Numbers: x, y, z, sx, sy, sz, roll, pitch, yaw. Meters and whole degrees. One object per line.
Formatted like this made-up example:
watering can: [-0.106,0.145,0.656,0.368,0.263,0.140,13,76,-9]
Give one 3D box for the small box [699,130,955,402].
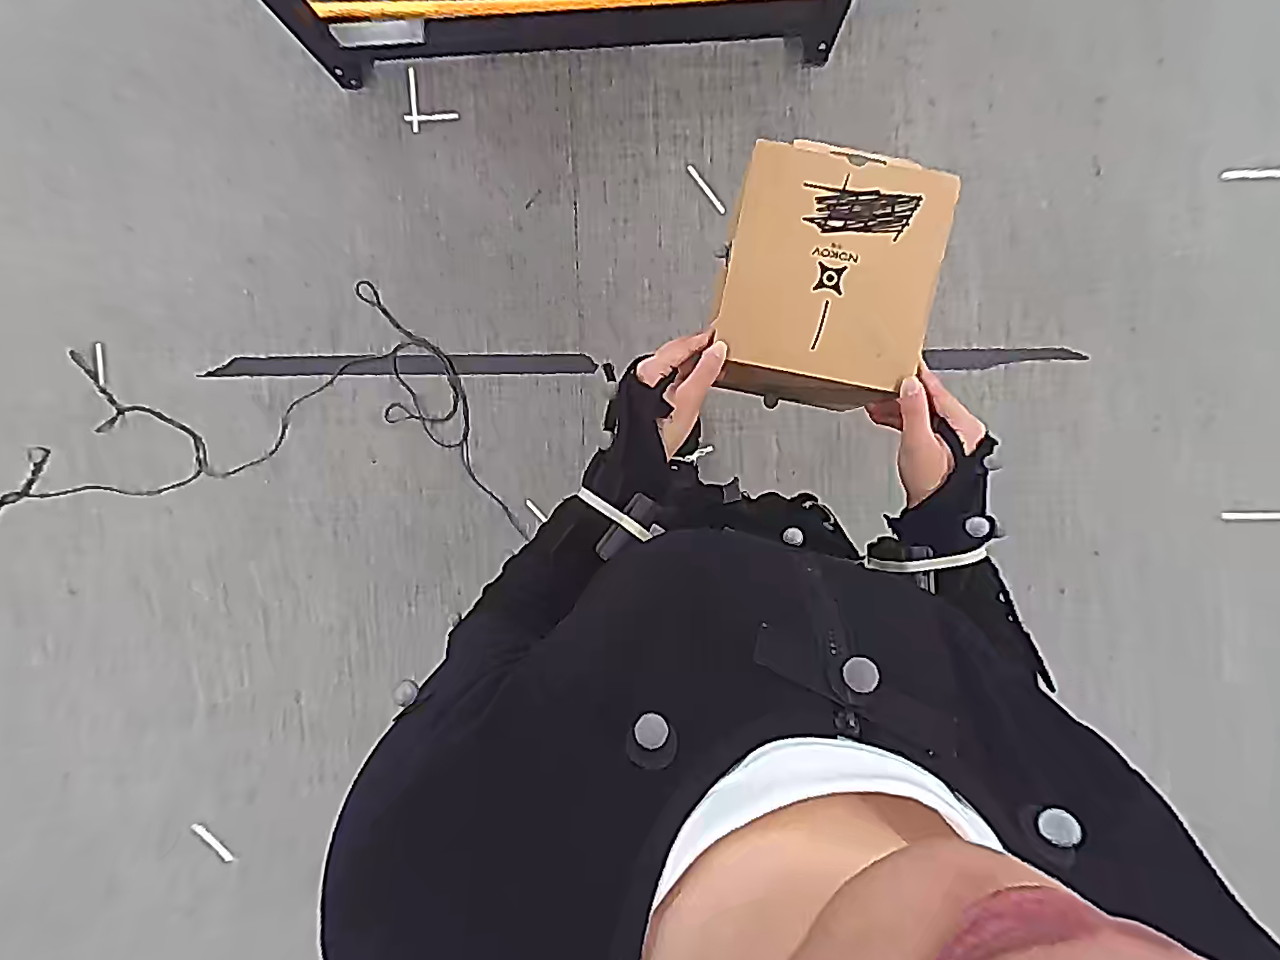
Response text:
small box: [0.155,-0.181,0.510,0.168,0.176,0.179,12,94,2]
